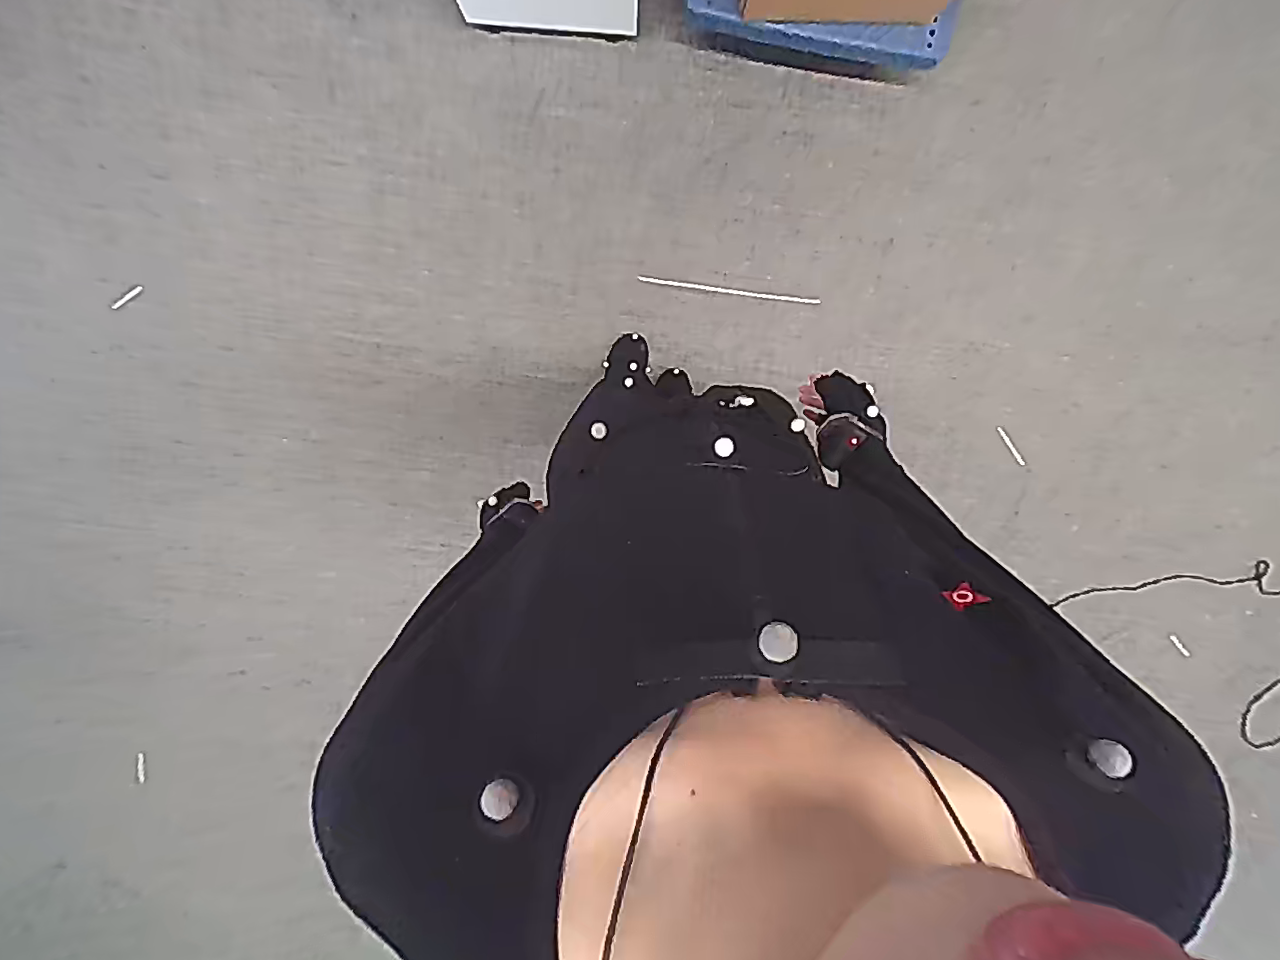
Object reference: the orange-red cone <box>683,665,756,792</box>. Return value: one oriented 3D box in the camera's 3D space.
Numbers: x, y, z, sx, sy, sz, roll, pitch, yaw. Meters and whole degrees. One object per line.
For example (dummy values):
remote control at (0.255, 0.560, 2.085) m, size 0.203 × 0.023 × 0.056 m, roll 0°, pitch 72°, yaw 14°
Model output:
orange-red cone at (0.241, 0.706, 1.483) m, size 0.198 × 0.360 × 0.199 m, roll 12°, pitch 103°, yaw -3°
